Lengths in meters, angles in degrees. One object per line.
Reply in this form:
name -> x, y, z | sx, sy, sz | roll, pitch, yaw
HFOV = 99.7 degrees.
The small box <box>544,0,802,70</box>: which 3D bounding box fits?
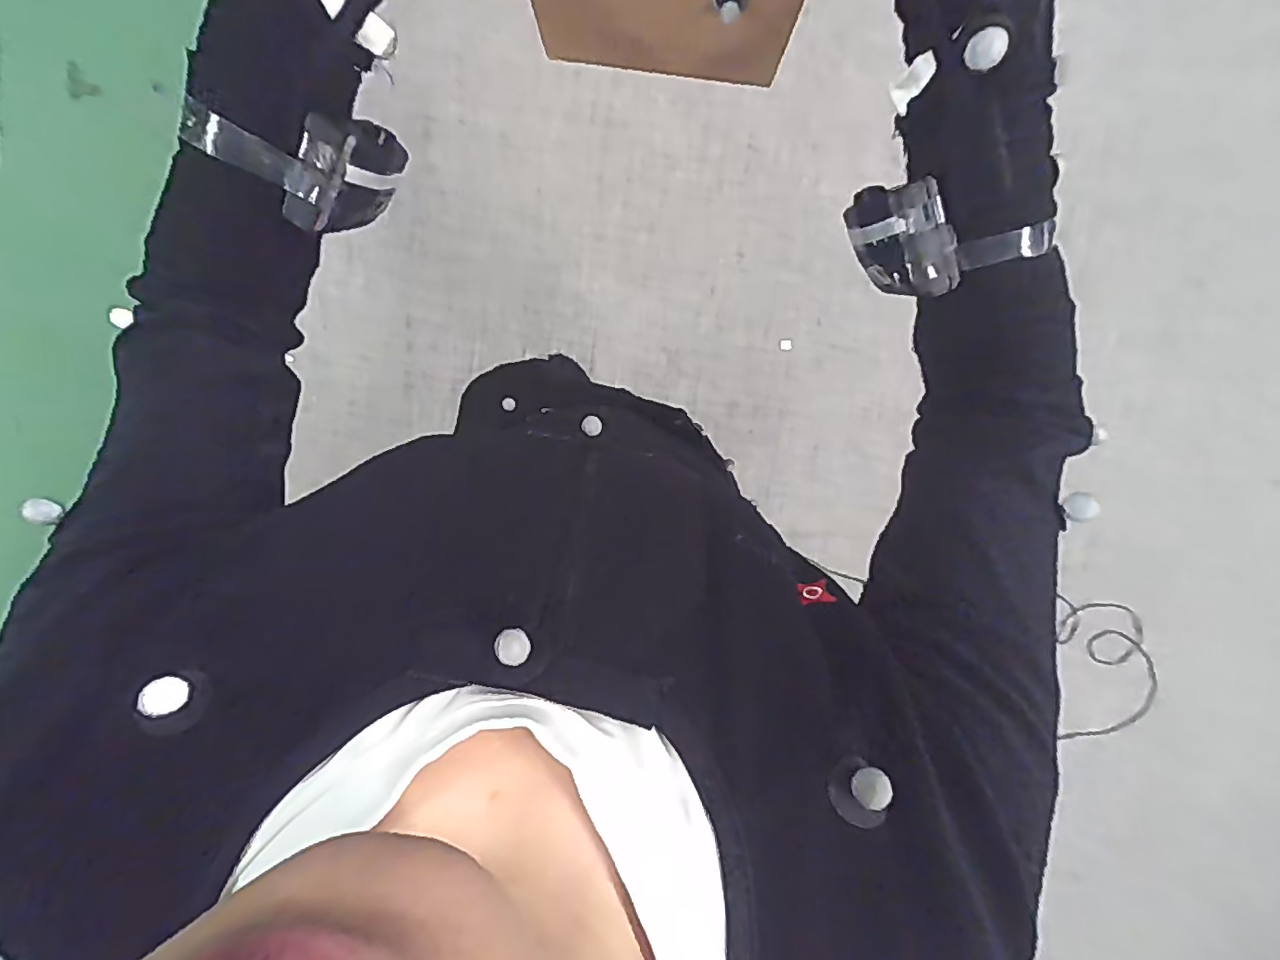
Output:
small box -> 0.029, -0.384, 0.321 | 0.179, 0.176, 0.168 | 6, 98, 0
